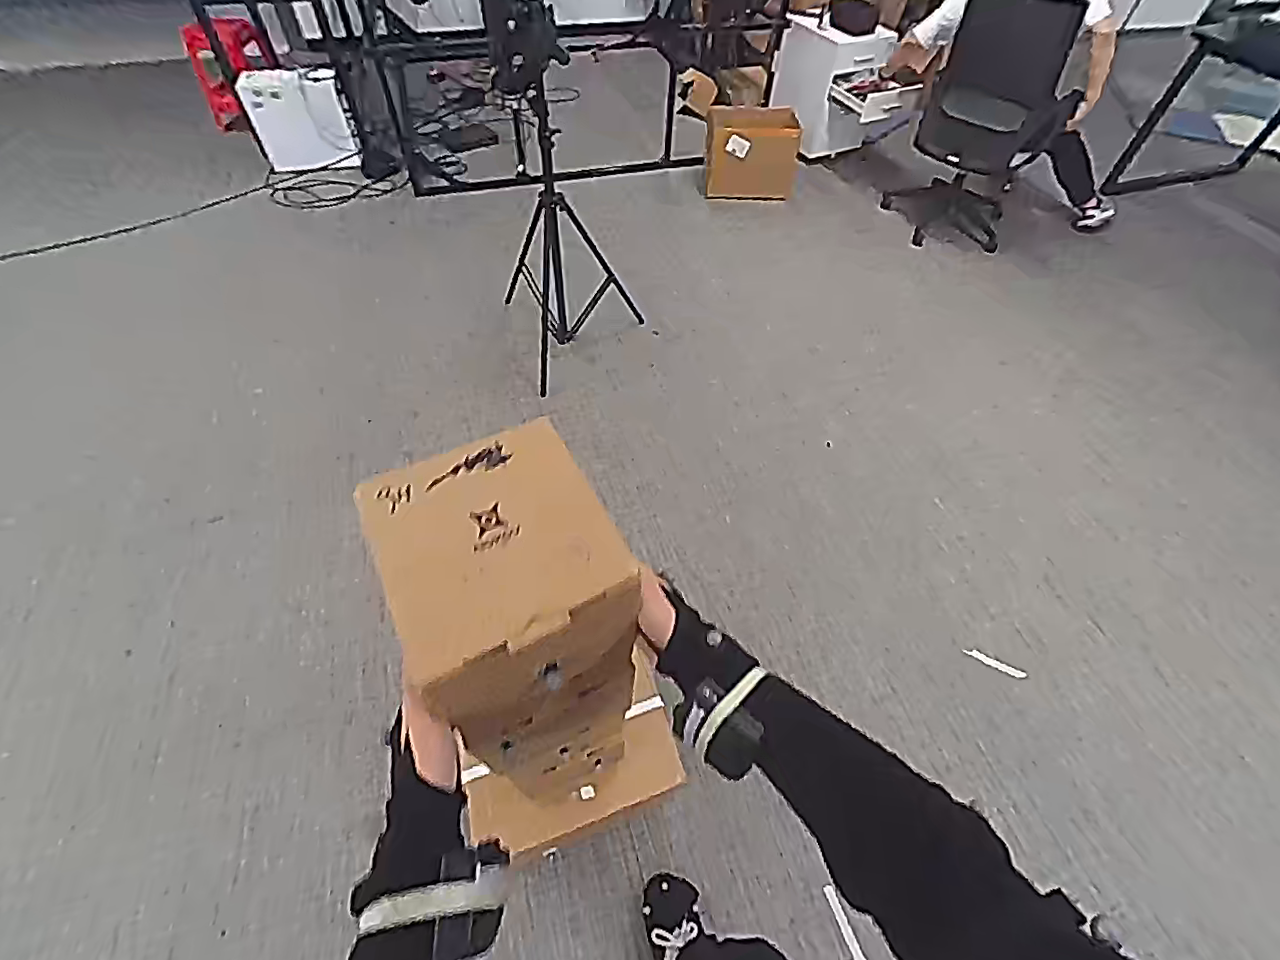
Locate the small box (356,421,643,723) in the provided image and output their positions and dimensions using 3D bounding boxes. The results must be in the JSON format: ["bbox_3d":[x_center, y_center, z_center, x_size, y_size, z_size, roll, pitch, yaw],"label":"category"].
[{"bbox_3d":[-0.112,0.087,0.466,0.168,0.176,0.179,-23,60,-20],"label":"small box"}]

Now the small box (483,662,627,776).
[{"bbox_3d":[-0.127,0.277,0.733,0.168,0.176,0.179,-20,57,-18],"label":"small box"}]

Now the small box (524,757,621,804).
[{"bbox_3d":[-0.140,0.468,0.997,0.168,0.176,0.179,-16,57,-13],"label":"small box"}]

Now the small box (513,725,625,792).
[{"bbox_3d":[-0.128,0.376,0.864,0.168,0.176,0.179,-16,55,-15],"label":"small box"}]
